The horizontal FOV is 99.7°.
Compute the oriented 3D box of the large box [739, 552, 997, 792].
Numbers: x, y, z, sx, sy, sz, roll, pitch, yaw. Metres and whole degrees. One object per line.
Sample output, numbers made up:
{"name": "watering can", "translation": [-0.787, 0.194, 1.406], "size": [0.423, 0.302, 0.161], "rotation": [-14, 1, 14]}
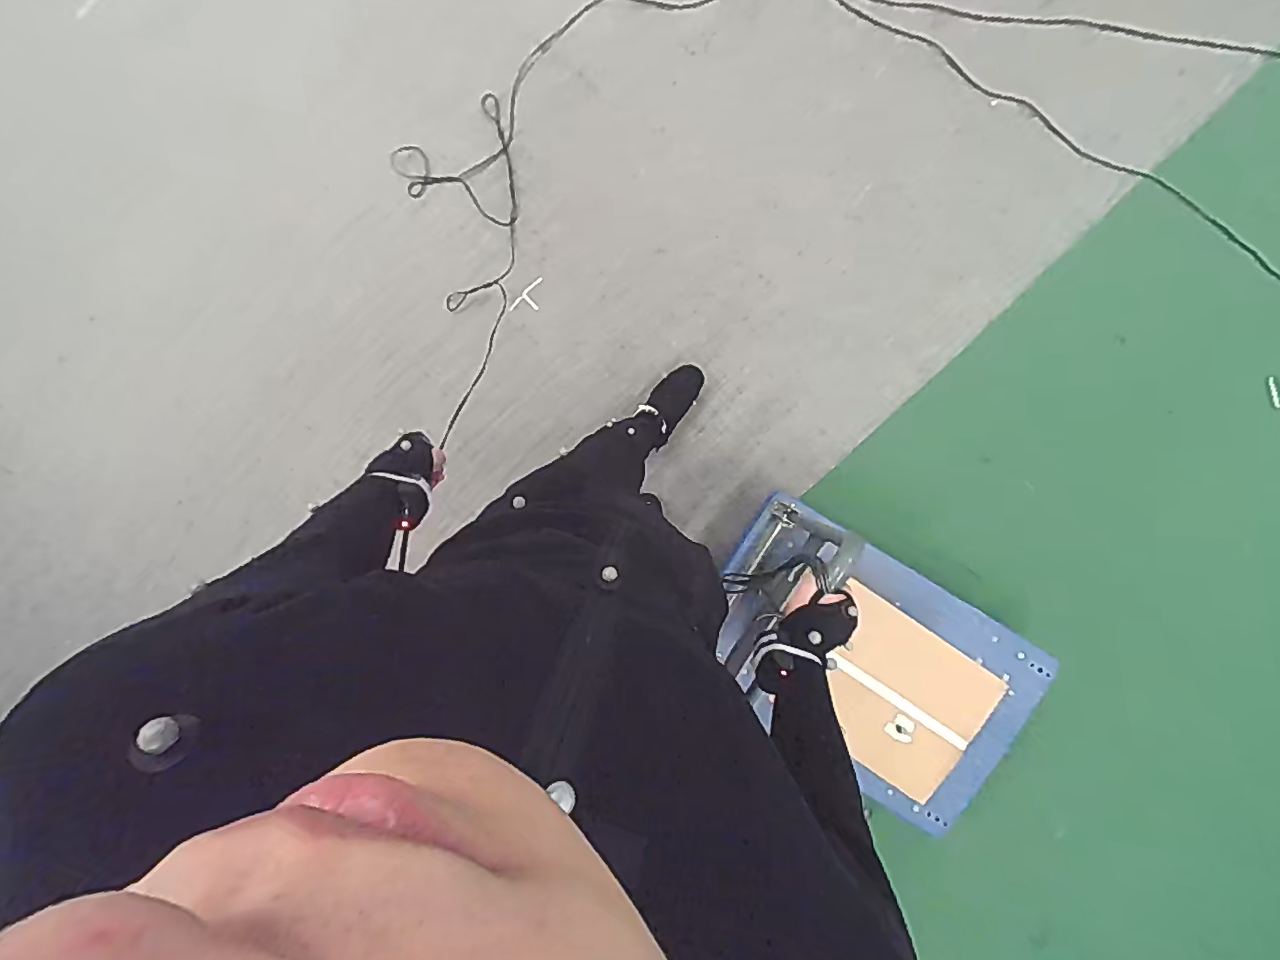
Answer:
{"name": "large box", "translation": [0.503, 0.422, 1.282], "size": [0.408, 0.320, 0.320], "rotation": [35, 94, -1]}
